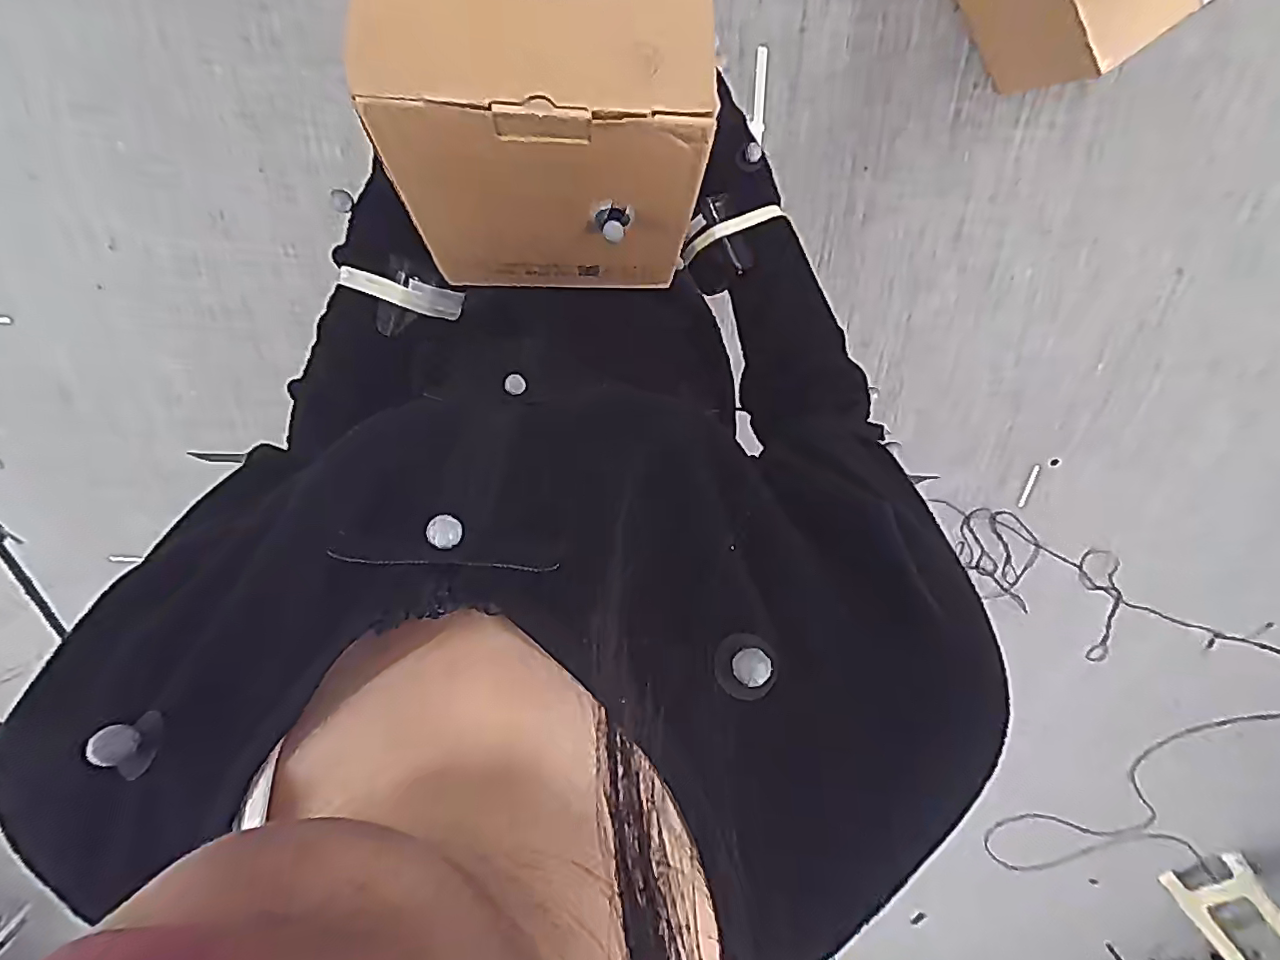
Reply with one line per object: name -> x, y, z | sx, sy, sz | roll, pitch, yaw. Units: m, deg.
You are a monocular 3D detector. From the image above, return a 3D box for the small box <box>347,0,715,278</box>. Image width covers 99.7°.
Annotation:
small box -> -0.055, -0.242, 0.329 | 0.168, 0.176, 0.179 | -1, 82, -7
